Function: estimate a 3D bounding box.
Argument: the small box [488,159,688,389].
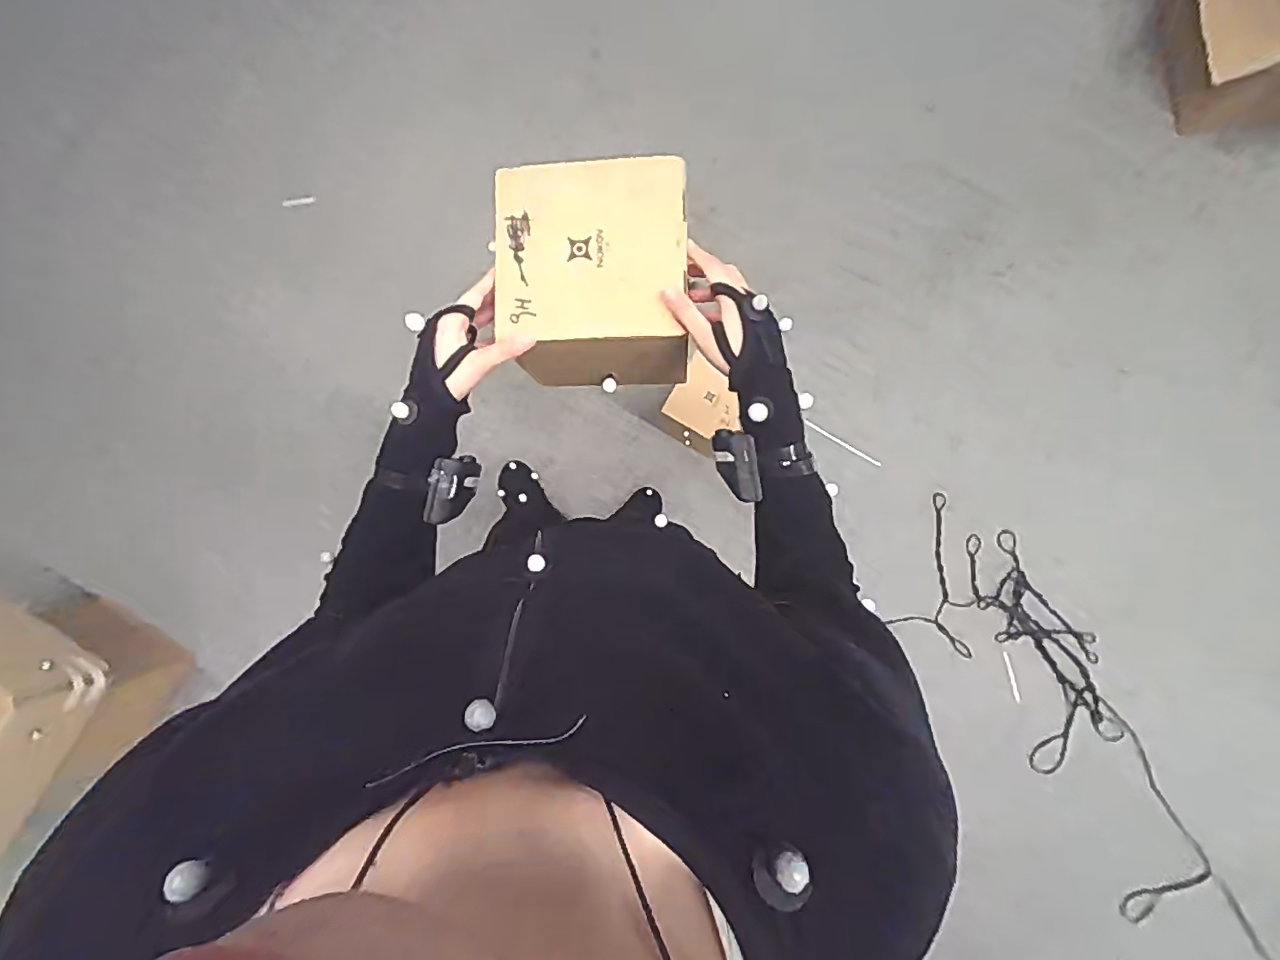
[{"bbox_3d":[-0.042,-0.197,0.557,0.179,0.176,0.168,-1,82,4],"label":"small box"}]

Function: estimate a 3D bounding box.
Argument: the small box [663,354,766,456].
[{"bbox_3d":[0.165,-0.166,1.269,0.179,0.176,0.168,31,90,1],"label":"small box"}]

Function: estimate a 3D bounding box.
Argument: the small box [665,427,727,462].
[{"bbox_3d":[0.176,-0.156,1.433,0.179,0.176,0.168,31,89,1],"label":"small box"}]
